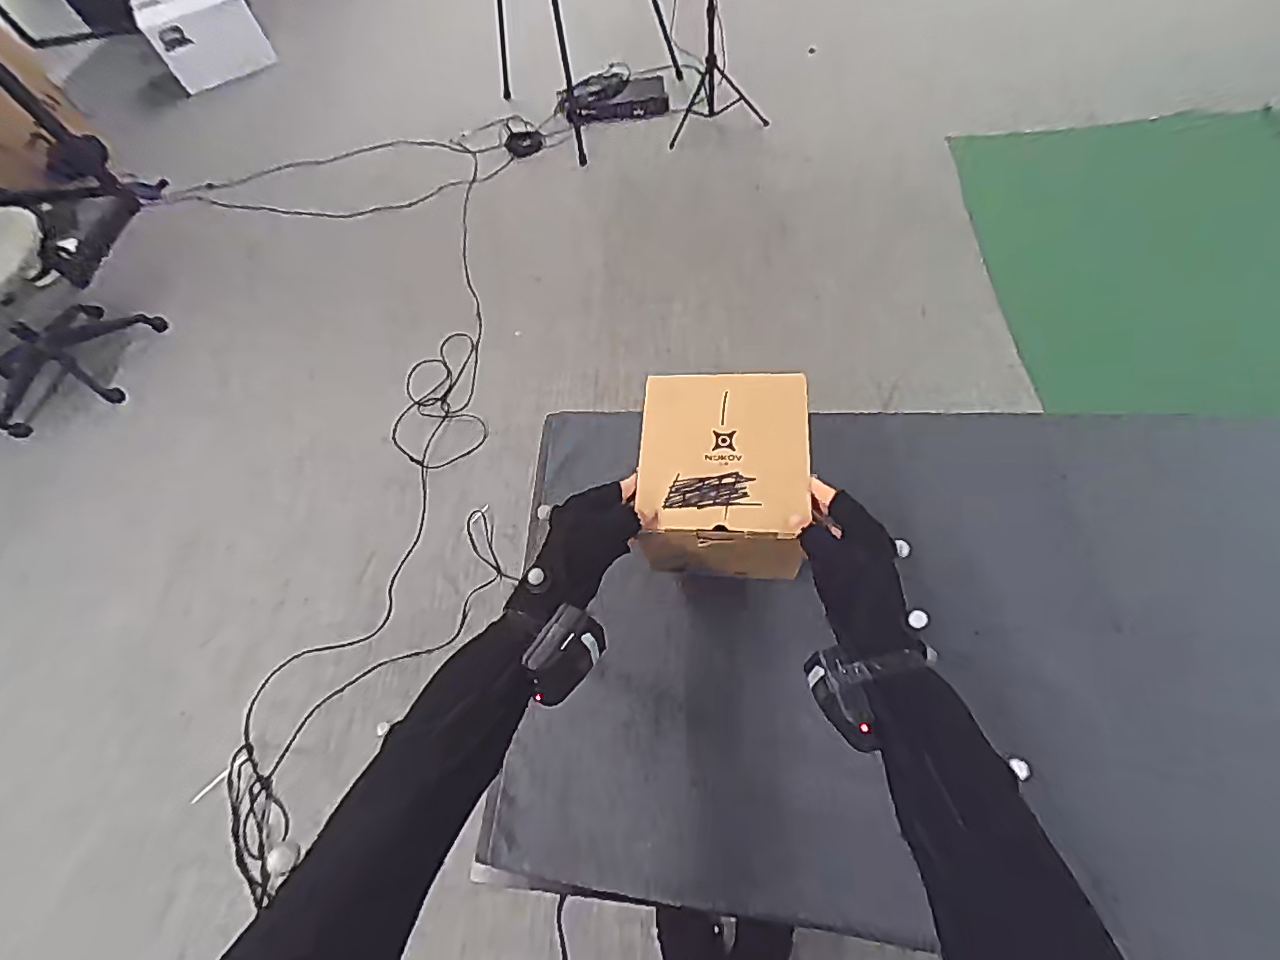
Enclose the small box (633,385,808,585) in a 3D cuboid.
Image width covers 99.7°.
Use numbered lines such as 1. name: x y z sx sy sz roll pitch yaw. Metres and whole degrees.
1. small box: 0.094 0.013 0.605 0.168 0.176 0.179 1 65 10
